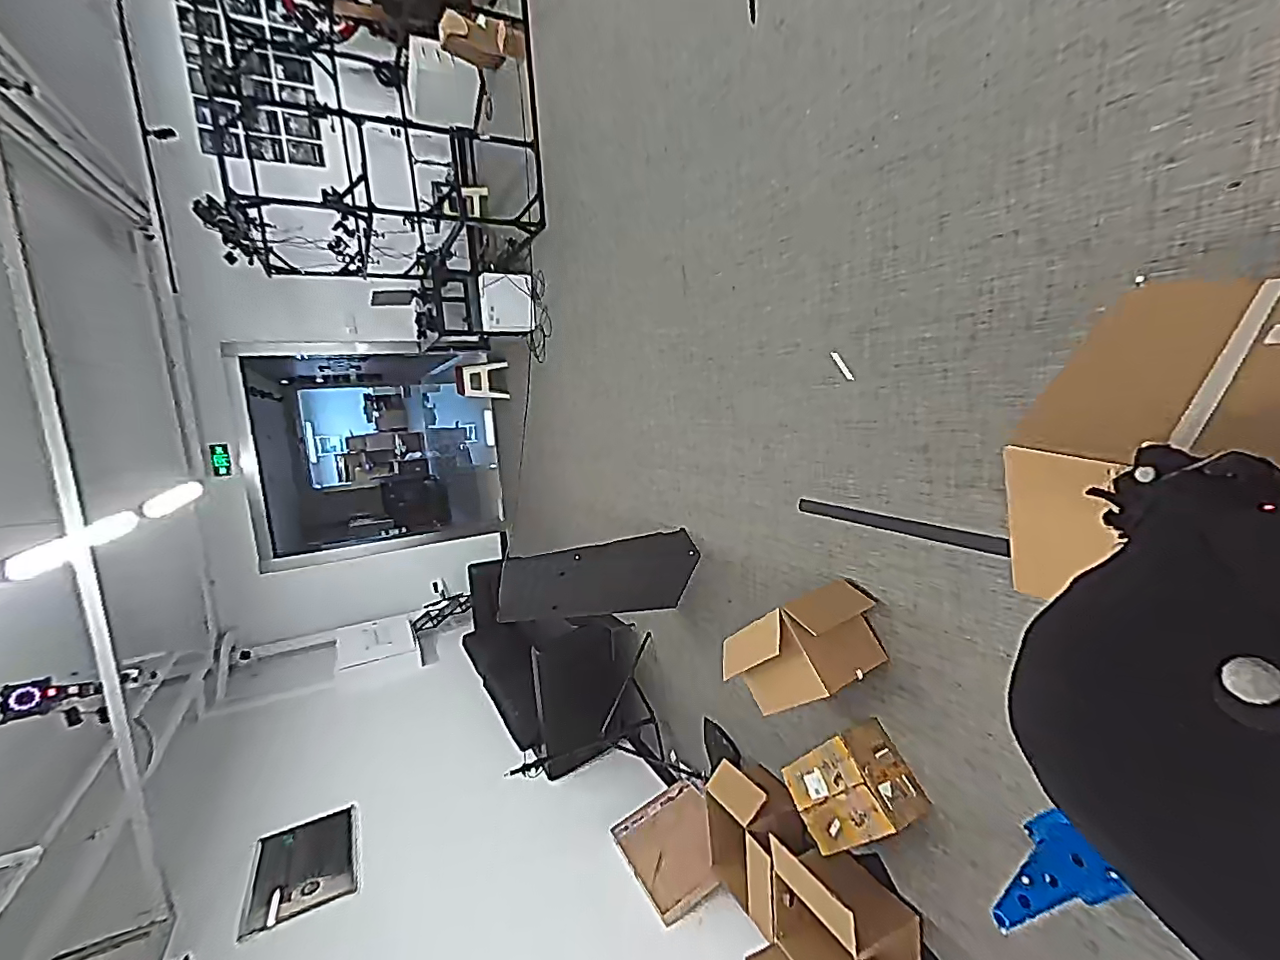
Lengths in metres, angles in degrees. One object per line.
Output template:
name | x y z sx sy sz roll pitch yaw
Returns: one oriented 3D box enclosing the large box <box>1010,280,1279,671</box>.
large box | 0.774 -0.028 0.739 0.320 0.408 0.320 24 150 51
